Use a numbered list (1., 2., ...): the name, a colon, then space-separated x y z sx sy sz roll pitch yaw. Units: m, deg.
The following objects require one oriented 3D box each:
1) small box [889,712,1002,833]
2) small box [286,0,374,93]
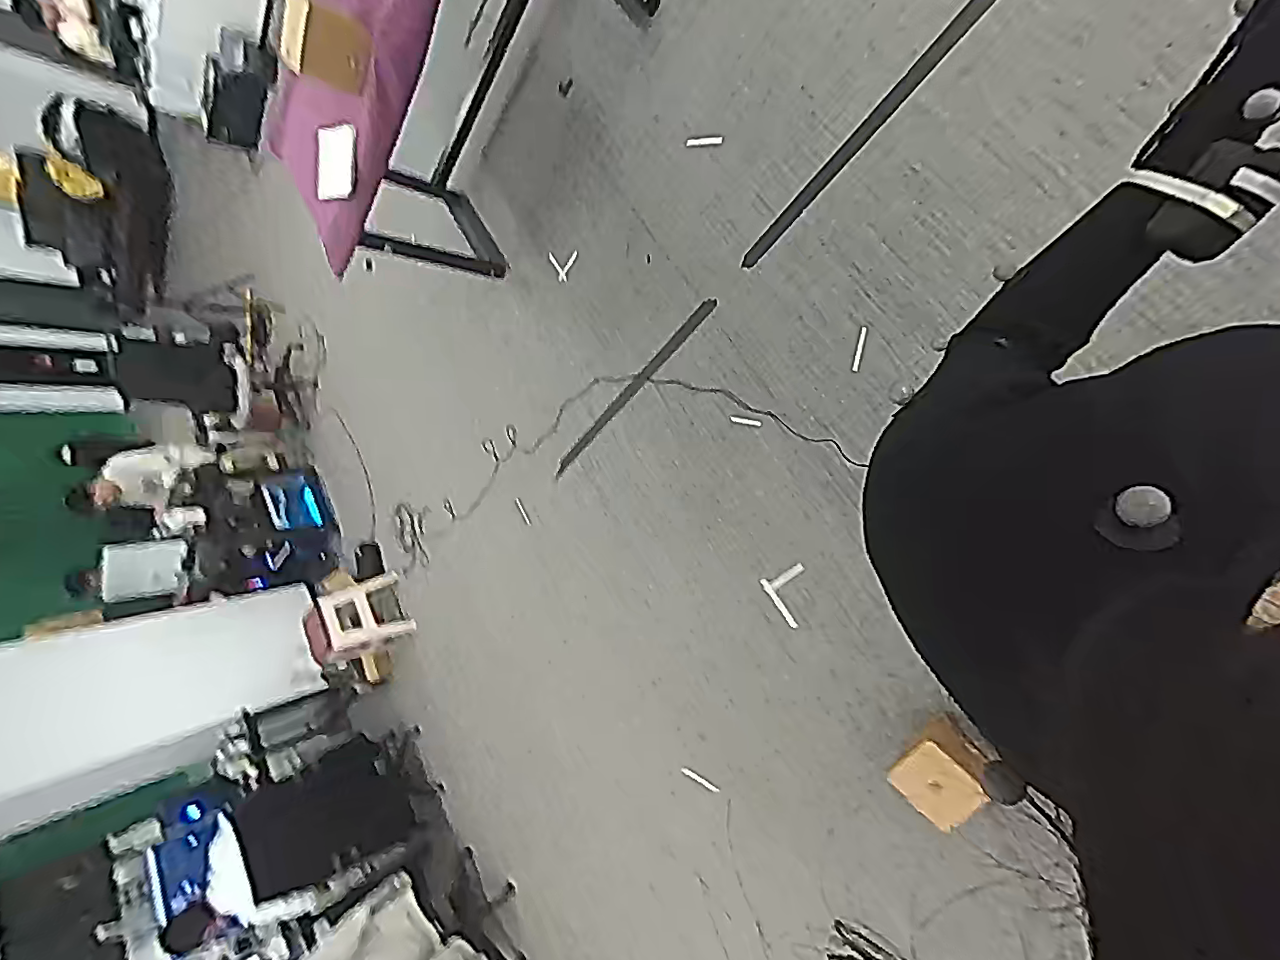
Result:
1. small box: 0.767 0.723 1.350 0.168 0.176 0.179 42 120 29
2. small box: -0.906 -1.292 1.585 0.168 0.176 0.179 49 123 26
